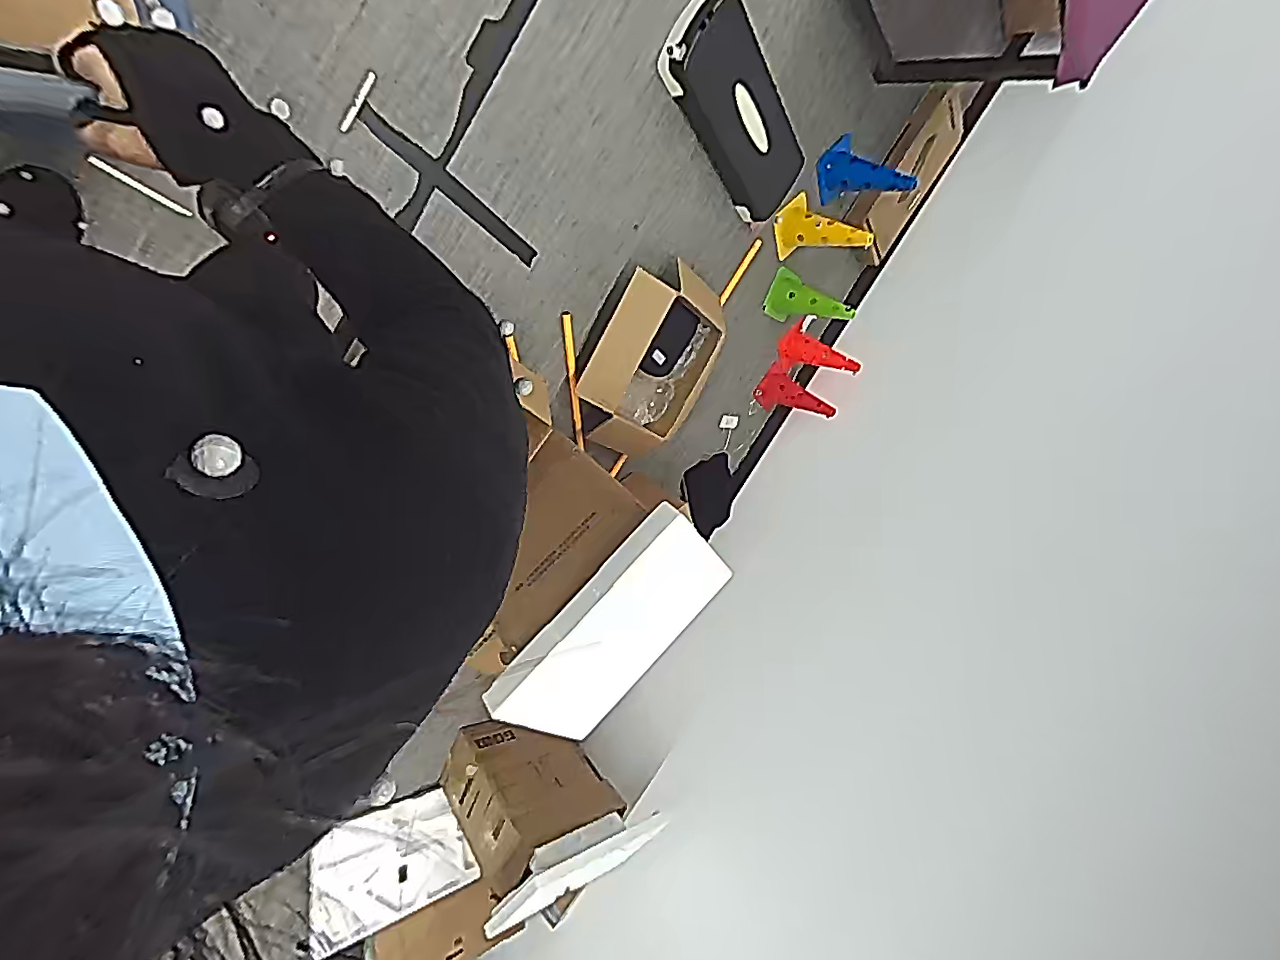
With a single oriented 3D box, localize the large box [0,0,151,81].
[{"bbox_3d":[-0.809,-0.629,0.542,0.408,0.320,0.320,-18,128,-37],"label":"large box"}]
